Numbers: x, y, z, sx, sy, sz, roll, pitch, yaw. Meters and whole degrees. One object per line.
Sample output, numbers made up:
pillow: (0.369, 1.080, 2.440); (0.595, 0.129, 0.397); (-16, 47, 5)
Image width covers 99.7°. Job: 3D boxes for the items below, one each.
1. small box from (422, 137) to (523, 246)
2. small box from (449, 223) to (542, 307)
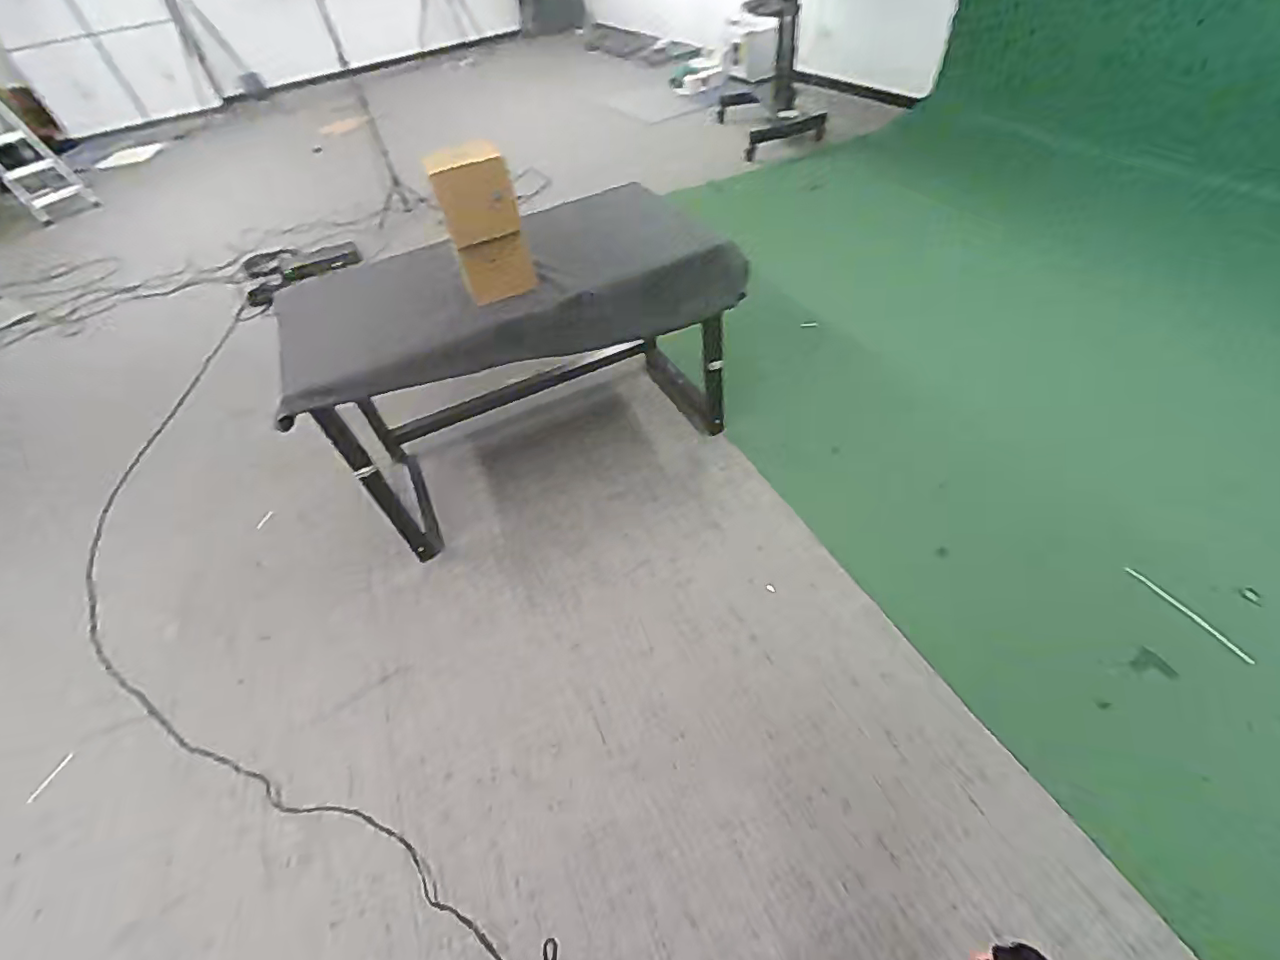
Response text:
small box: (-0.393, -0.691, 1.296); (0.179, 0.176, 0.168); (-25, 48, -14)
small box: (-0.383, -0.588, 1.448); (0.179, 0.176, 0.168); (-24, 47, -14)
